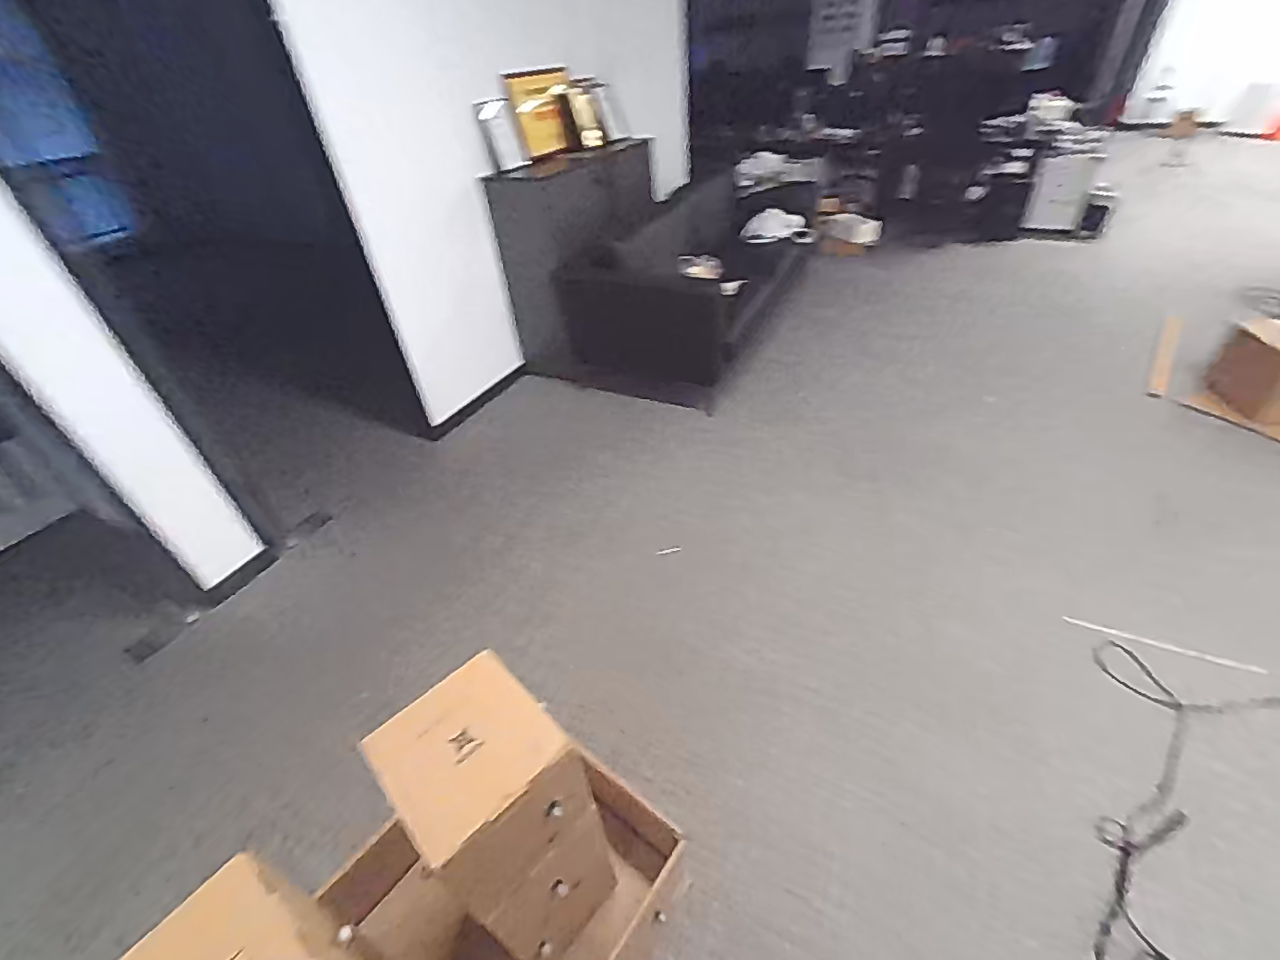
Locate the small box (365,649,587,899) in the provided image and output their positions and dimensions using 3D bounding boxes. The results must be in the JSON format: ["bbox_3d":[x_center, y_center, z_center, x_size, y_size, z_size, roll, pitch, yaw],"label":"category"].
[{"bbox_3d":[-0.182,0.345,0.637,0.168,0.176,0.179,-34,45,-31],"label":"small box"}]

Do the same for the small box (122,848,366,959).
[{"bbox_3d":[-0.361,0.491,0.482,0.168,0.176,0.179,22,45,30],"label":"small box"}]

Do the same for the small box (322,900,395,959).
[{"bbox_3d":[-0.350,0.621,0.583,0.168,0.176,0.179,22,45,31],"label":"small box"}]
